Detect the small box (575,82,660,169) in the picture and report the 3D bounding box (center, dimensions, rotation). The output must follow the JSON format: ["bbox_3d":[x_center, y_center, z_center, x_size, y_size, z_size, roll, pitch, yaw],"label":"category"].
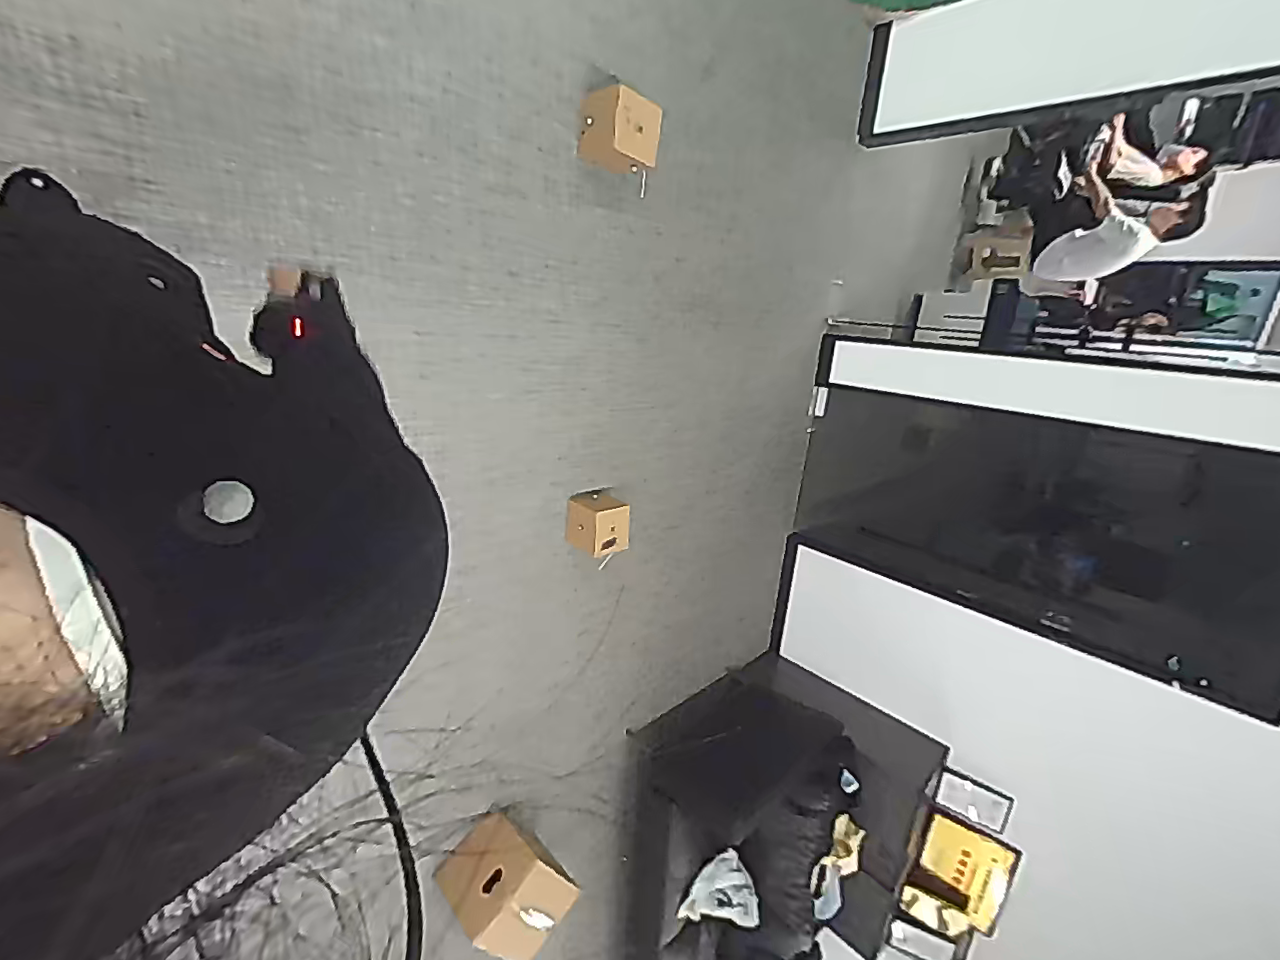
[{"bbox_3d":[-0.068,-1.055,1.626,0.179,0.176,0.168,-5,109,-45],"label":"small box"}]

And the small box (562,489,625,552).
[{"bbox_3d":[-0.178,0.147,2.024,0.168,0.176,0.179,-11,113,-44],"label":"small box"}]
